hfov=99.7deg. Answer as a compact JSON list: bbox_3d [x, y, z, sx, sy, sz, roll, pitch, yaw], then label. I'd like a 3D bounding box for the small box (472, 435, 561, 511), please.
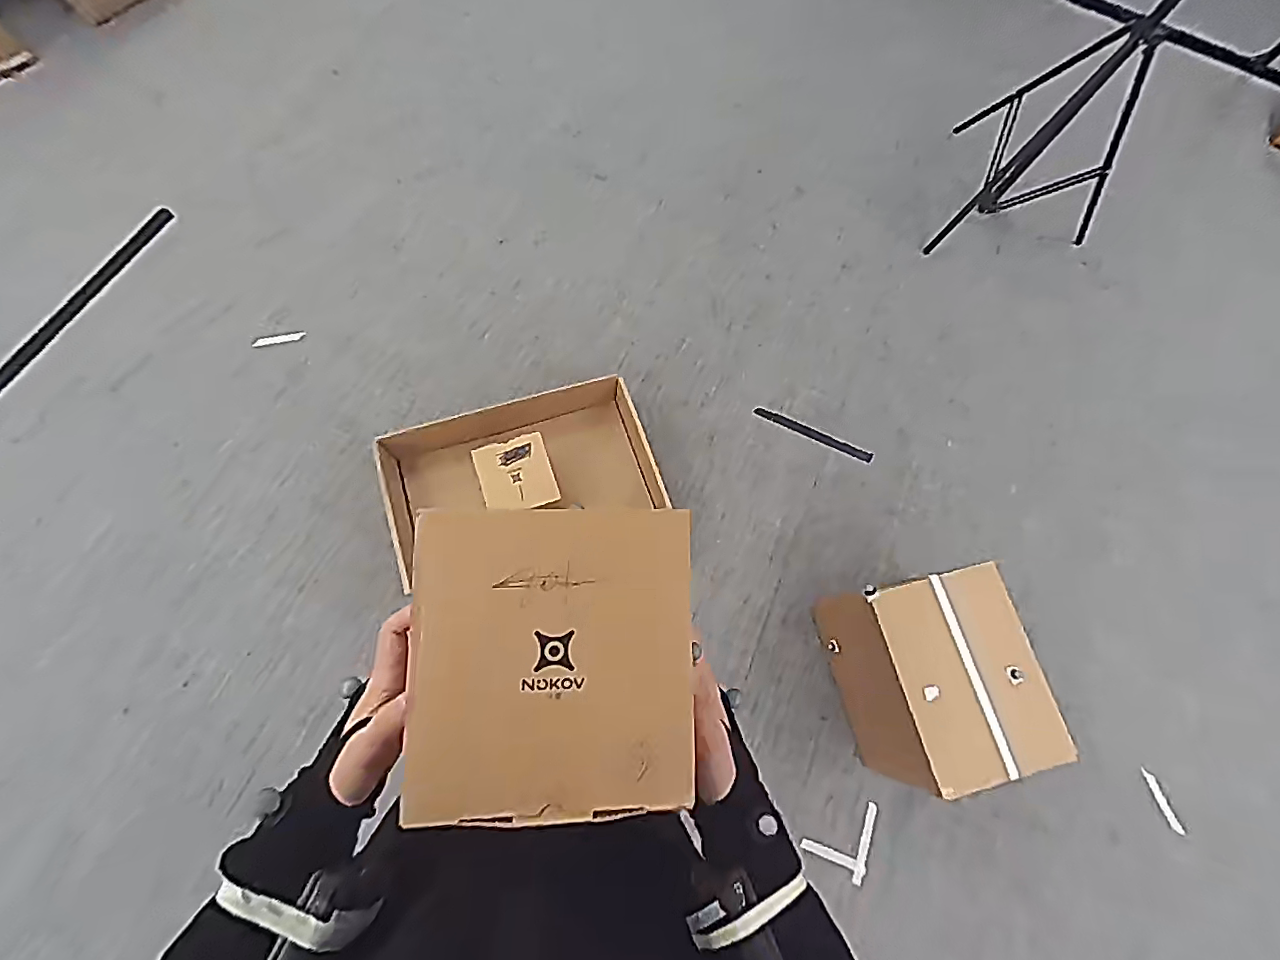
[{"bbox_3d":[-0.295,0.018,1.312,0.168,0.176,0.179,-18,76,-11],"label":"small box"}]

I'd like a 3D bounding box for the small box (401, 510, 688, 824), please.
[{"bbox_3d":[-0.062,0.116,0.397,0.168,0.176,0.179,0,81,-8],"label":"small box"}]
